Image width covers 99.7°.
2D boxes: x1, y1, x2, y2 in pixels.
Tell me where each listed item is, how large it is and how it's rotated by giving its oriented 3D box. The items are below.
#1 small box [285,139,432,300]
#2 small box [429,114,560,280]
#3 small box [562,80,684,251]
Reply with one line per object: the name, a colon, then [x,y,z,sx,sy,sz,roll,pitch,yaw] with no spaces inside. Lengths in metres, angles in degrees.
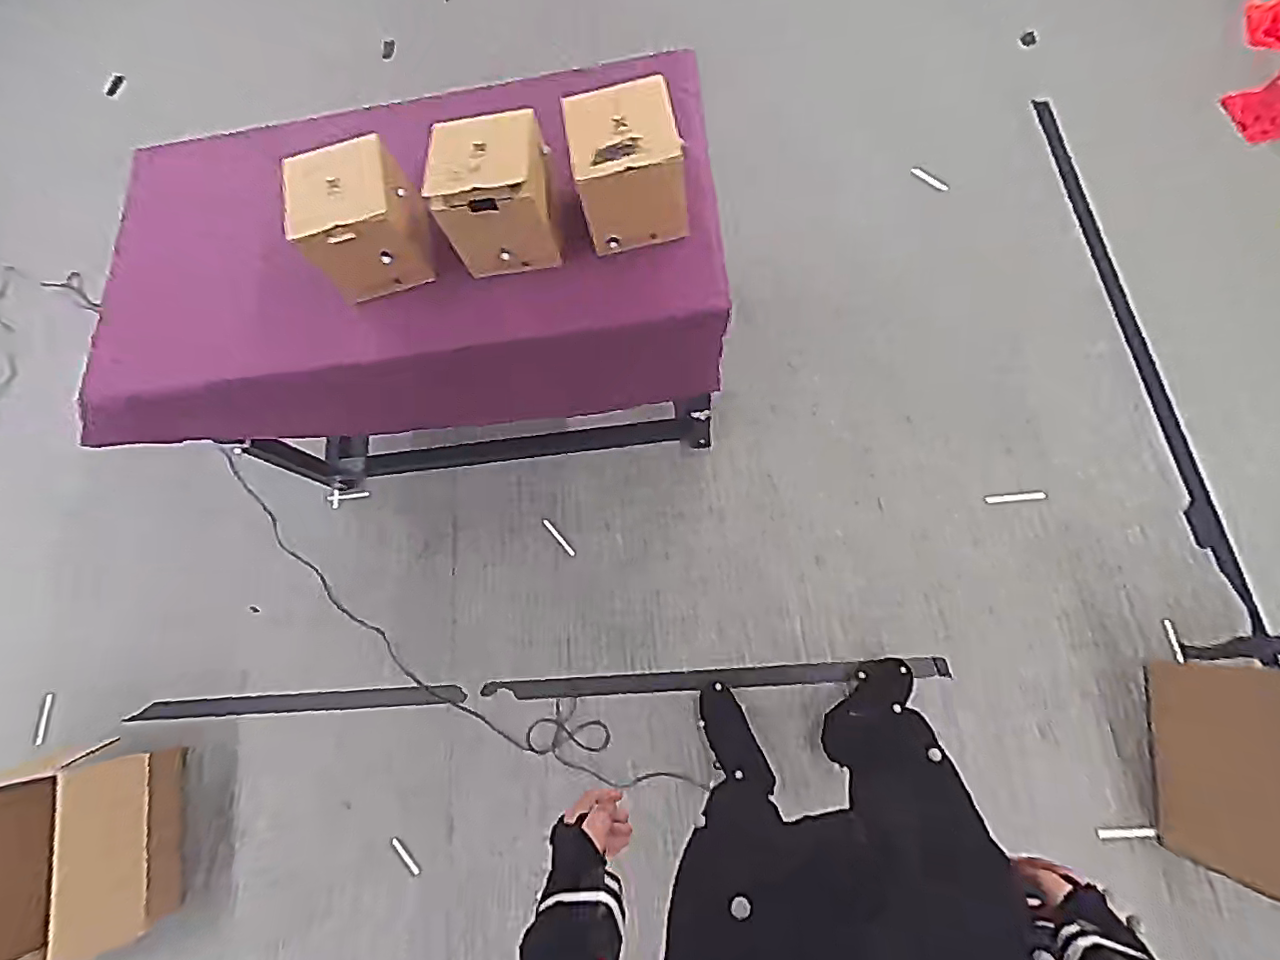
small box: [-0.482,-0.440,0.945,0.168,0.176,0.179,-15,72,2]
small box: [-0.239,-0.474,0.923,0.168,0.176,0.179,-6,73,6]
small box: [-0.022,-0.512,0.907,0.168,0.176,0.179,-11,71,4]
